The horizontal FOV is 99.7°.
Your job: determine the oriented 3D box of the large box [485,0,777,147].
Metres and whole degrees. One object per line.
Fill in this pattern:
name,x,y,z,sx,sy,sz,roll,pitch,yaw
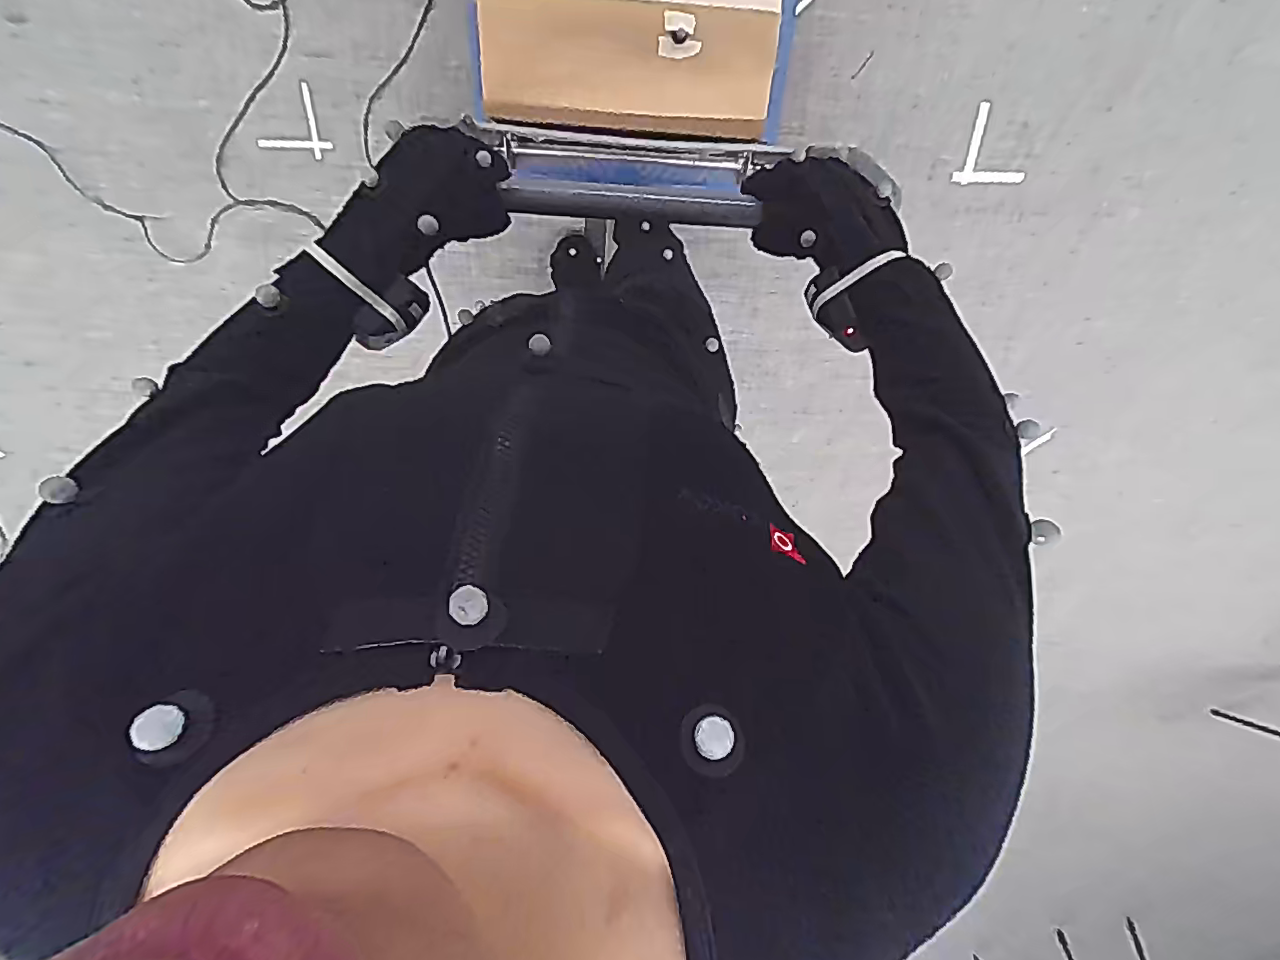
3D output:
large box,-0.022,-0.727,0.854,0.408,0.320,0.320,1,118,-6
